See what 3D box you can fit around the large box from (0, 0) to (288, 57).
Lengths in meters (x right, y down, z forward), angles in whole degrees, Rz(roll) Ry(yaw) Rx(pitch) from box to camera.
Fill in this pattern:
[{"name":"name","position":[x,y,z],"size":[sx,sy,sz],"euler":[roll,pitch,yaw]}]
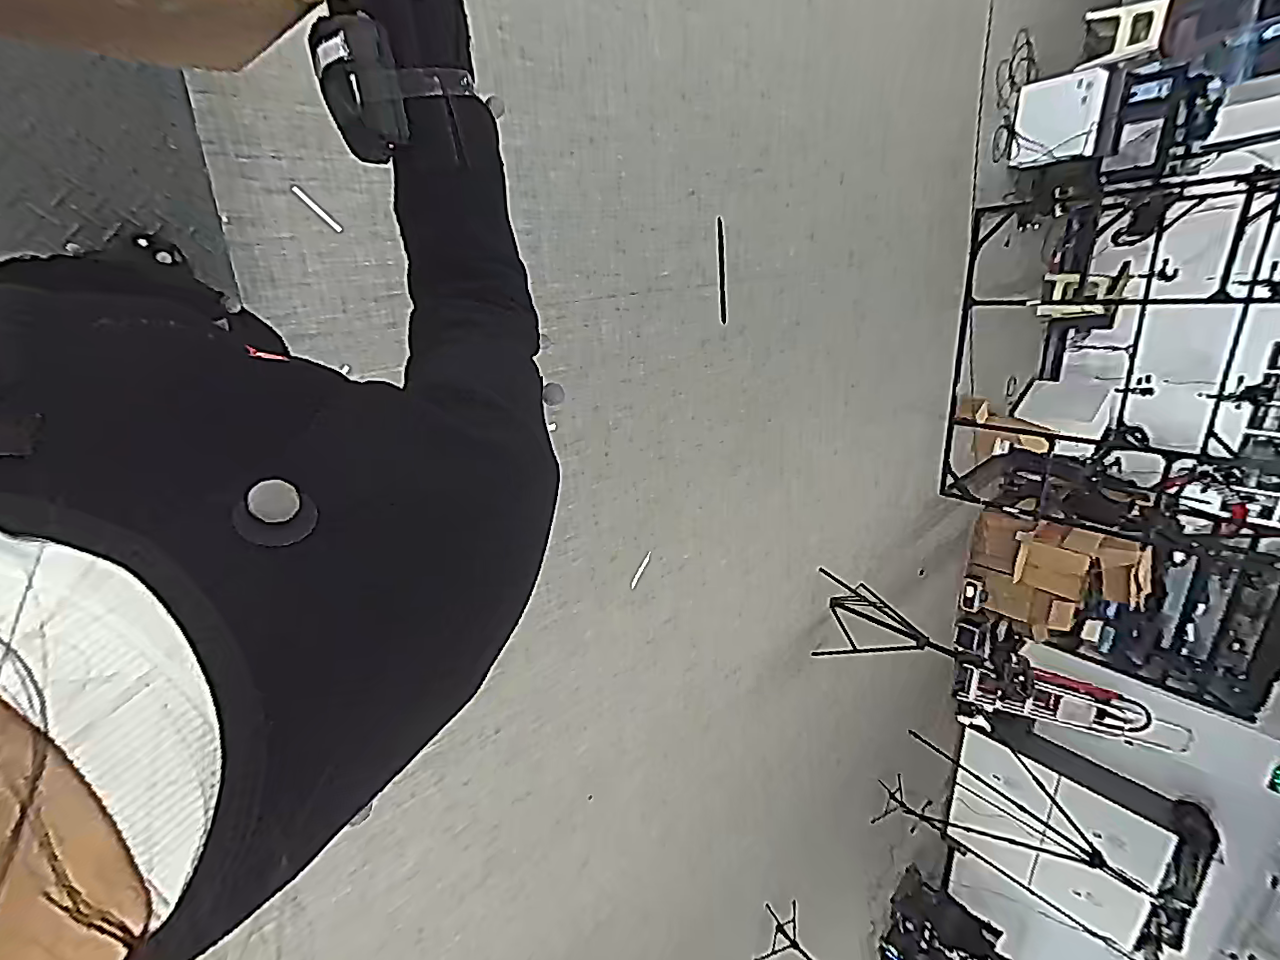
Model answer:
[{"name":"large box","position":[-0.420,-0.408,0.211],"size":[0.408,0.320,0.320],"euler":[-20,126,-37]}]

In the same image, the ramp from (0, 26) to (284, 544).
[{"name":"ramp","position":[-1.024,-0.373,0.966],"size":[0.509,0.206,0.991],"euler":[-20,117,-37]}]
